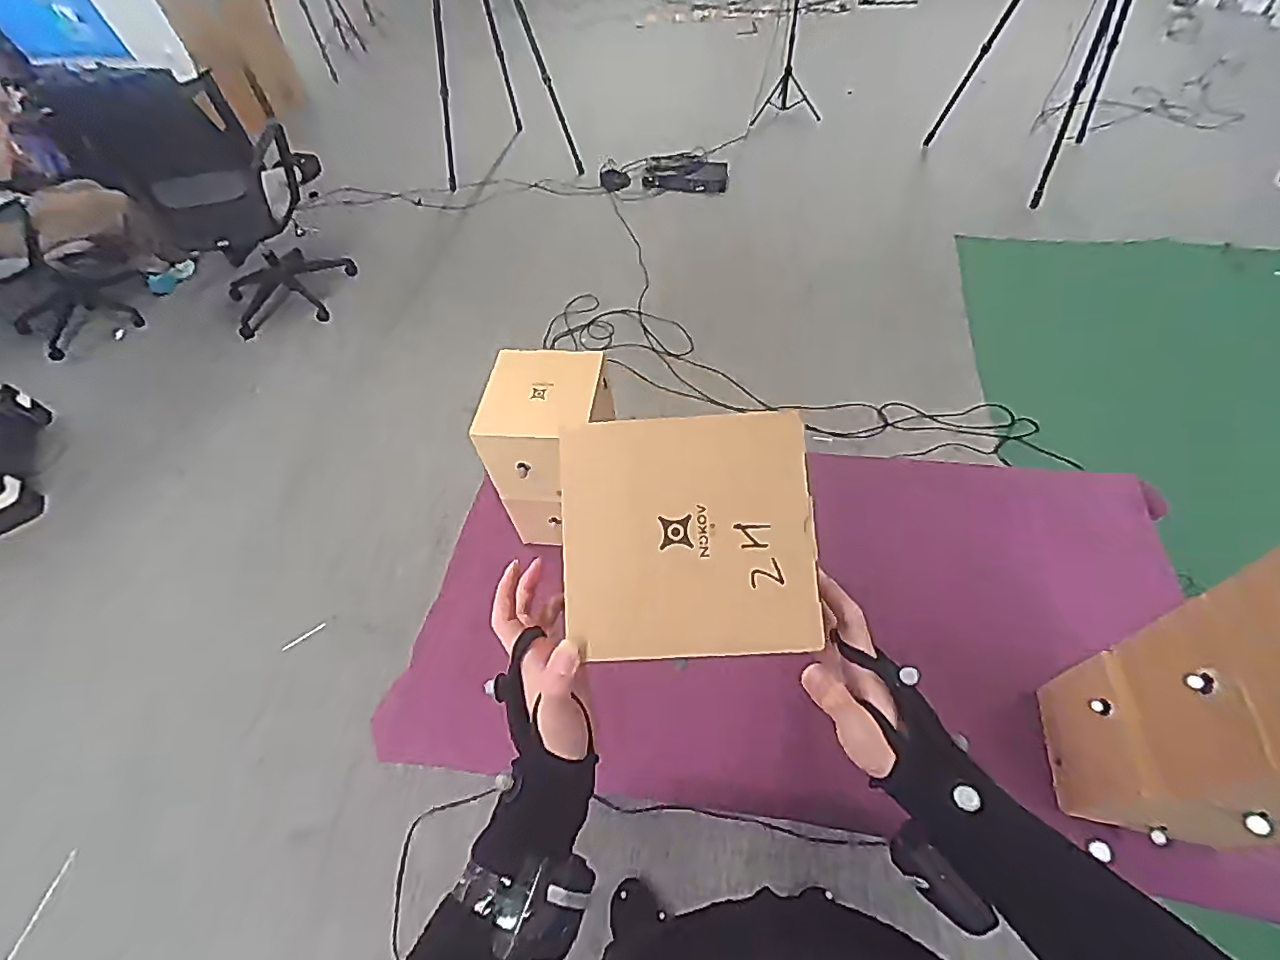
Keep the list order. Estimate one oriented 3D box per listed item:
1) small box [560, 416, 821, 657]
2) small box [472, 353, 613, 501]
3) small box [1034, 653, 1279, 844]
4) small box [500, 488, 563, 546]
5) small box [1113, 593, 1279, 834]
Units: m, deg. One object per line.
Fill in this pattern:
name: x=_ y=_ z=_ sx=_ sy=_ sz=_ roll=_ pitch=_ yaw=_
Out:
small box: x=0.036 y=0.050 z=0.454 sx=0.179 sy=0.176 sz=0.168 roll=-3 pitch=81 yaw=2
small box: x=-0.136 y=-0.077 z=0.844 sx=0.168 sy=0.176 sz=0.179 roll=3 pitch=55 yaw=7
small box: x=0.642 y=0.339 z=0.675 sx=0.179 sy=0.176 sz=0.168 roll=8 pitch=54 yaw=11
small box: x=-0.129 y=0.012 z=0.979 sx=0.179 sy=0.176 sz=0.168 roll=2 pitch=55 yaw=7
small box: x=0.632 y=0.240 z=0.546 sx=0.168 sy=0.176 sz=0.179 roll=7 pitch=55 yaw=13
